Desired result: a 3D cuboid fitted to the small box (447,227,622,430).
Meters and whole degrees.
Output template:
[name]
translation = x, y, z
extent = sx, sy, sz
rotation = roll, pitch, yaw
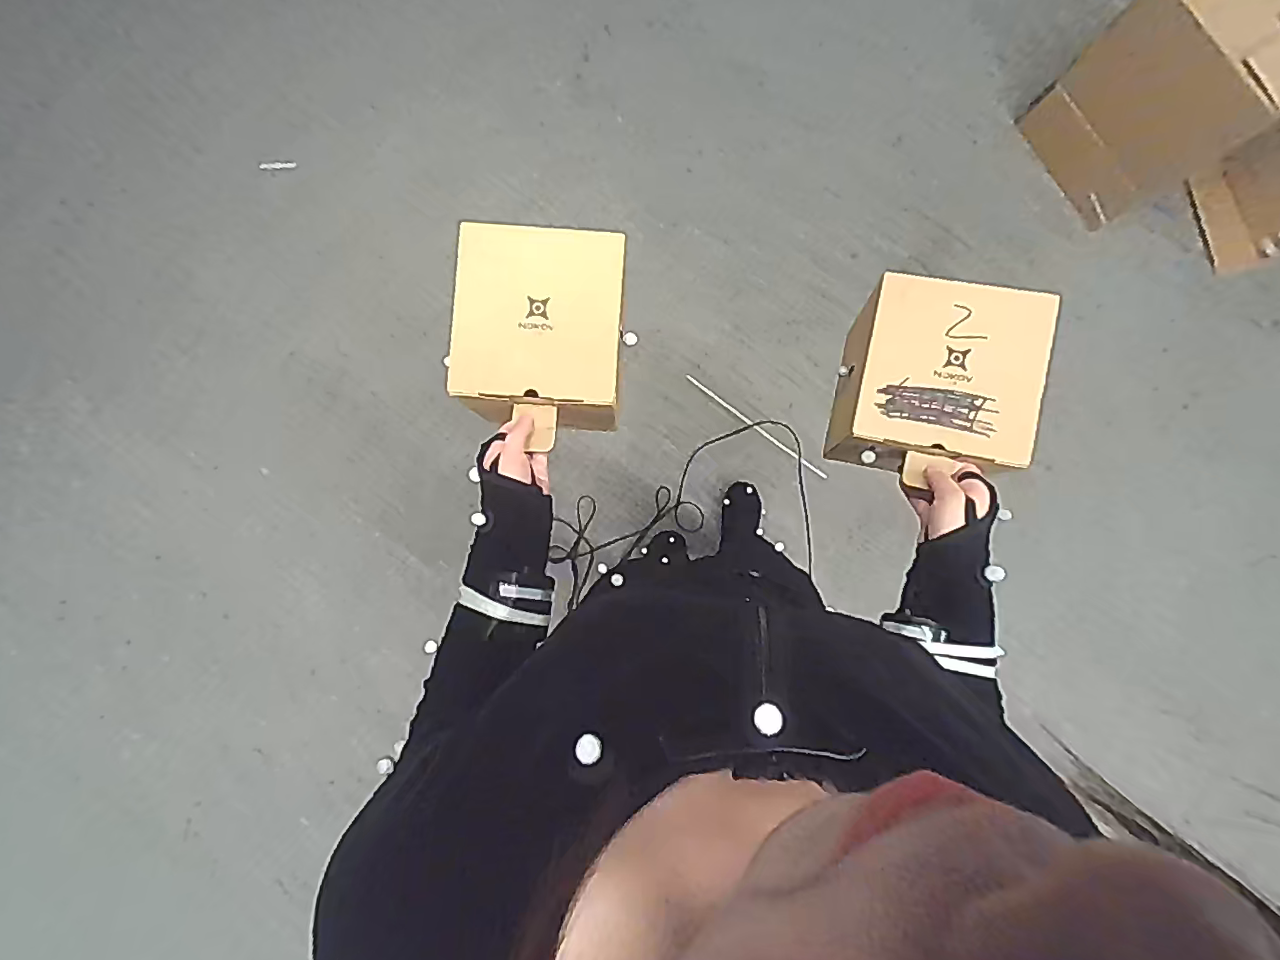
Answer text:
[small box]
translation = -0.108, -0.160, 0.621
extent = 0.168, 0.176, 0.179
rotation = 3, 87, -1
